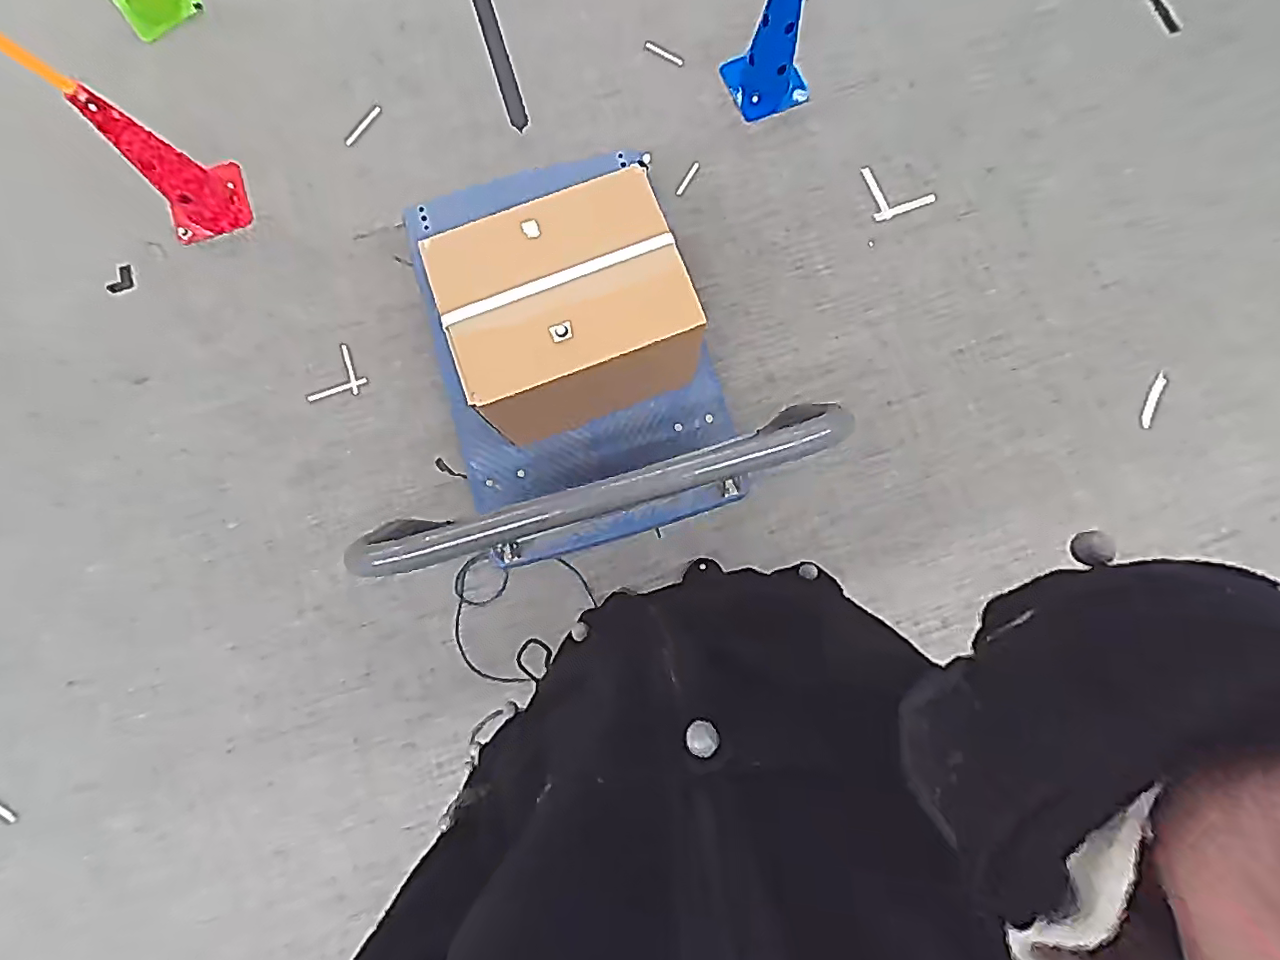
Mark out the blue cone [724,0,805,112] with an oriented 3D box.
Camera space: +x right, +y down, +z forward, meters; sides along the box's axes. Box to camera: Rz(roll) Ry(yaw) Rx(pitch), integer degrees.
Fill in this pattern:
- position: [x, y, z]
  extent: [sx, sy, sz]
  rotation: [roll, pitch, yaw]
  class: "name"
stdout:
- position: [0.345, -1.141, 1.332]
  extent: [0.193, 0.380, 0.192]
  rotation: [-22, 81, -4]
  class: "blue cone"
